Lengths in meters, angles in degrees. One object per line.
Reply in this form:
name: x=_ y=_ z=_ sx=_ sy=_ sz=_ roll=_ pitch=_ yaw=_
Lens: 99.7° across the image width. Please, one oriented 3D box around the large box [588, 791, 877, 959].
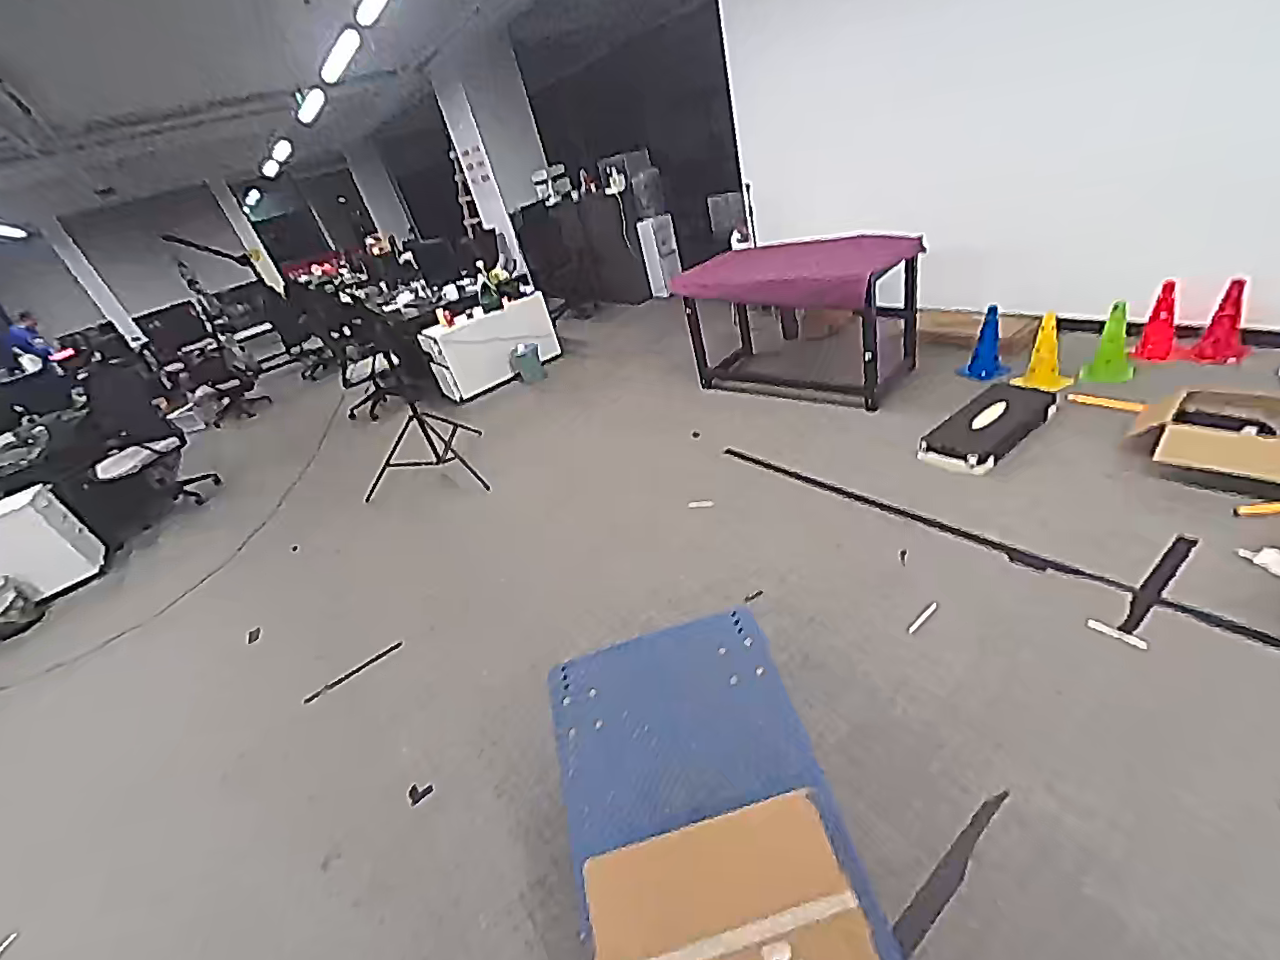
large box: x=0.161 y=0.806 z=0.939 sx=0.408 sy=0.320 sz=0.320 roll=-18 pitch=50 yaw=-3
